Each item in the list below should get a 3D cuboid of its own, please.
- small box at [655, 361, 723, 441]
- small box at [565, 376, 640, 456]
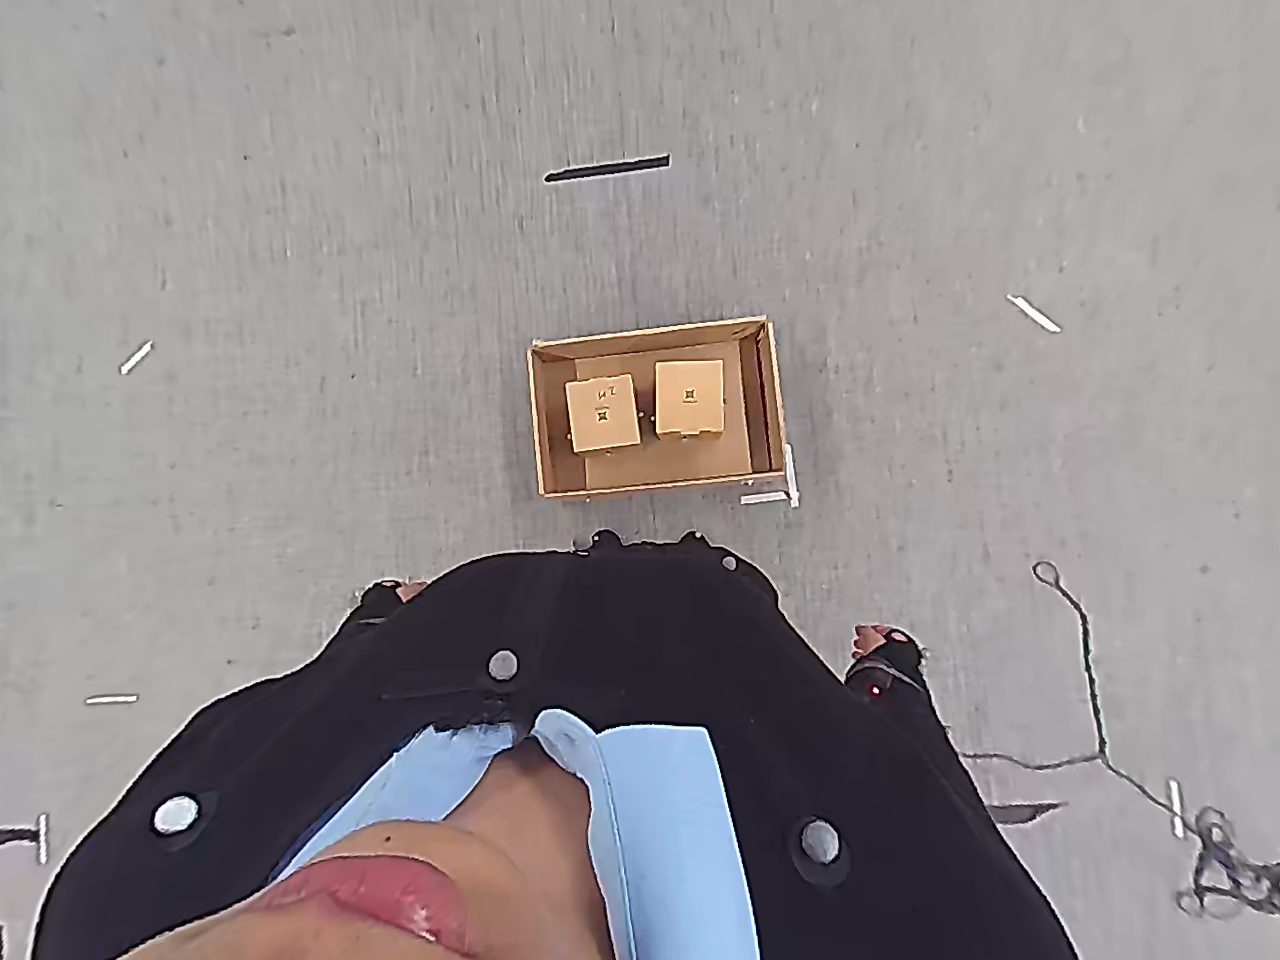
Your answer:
[{"bbox_3d":[0.122,-0.198,1.390,0.168,0.176,0.179,0,88,4],"label":"small box"},{"bbox_3d":[-0.092,-0.158,1.398,0.168,0.176,0.179,-7,87,1],"label":"small box"}]
